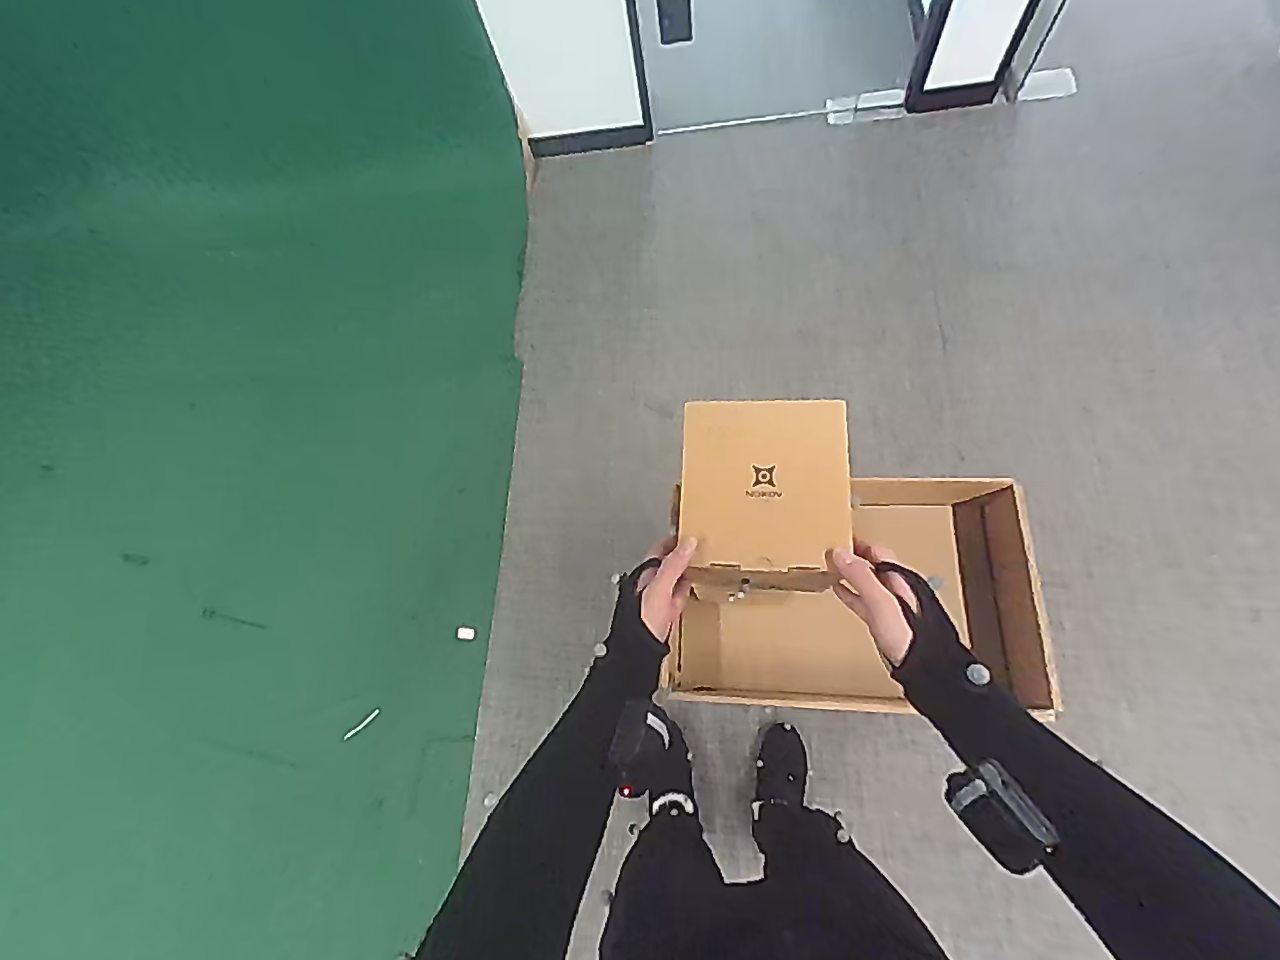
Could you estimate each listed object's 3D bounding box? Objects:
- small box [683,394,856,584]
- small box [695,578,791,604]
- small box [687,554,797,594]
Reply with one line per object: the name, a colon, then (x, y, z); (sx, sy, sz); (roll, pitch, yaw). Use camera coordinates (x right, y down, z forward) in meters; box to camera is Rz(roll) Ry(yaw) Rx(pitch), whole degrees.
small box: (0.139, 0.017, 0.616); (0.168, 0.176, 0.179); (2, 74, 9)
small box: (0.195, 0.133, 1.029); (0.168, 0.176, 0.179); (1, 71, 10)
small box: (0.170, 0.079, 0.876); (0.168, 0.176, 0.179); (3, 72, 11)
